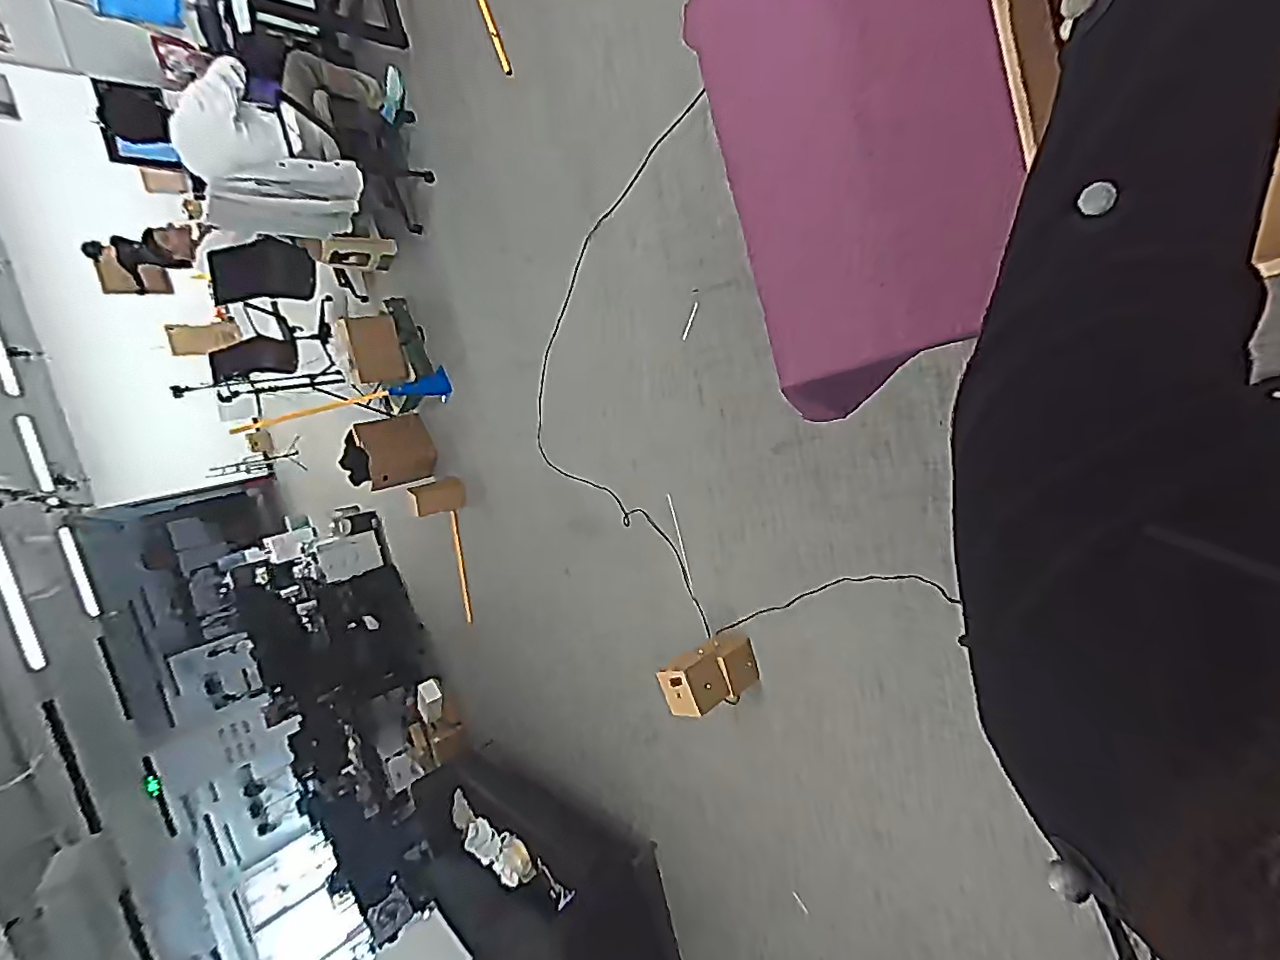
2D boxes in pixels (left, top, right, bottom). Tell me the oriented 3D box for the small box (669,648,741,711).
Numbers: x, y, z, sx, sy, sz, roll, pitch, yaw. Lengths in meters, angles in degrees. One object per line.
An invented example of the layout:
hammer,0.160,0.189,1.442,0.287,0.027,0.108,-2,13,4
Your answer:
small box,0.245,0.741,2.030,0.168,0.176,0.179,-27,84,52
